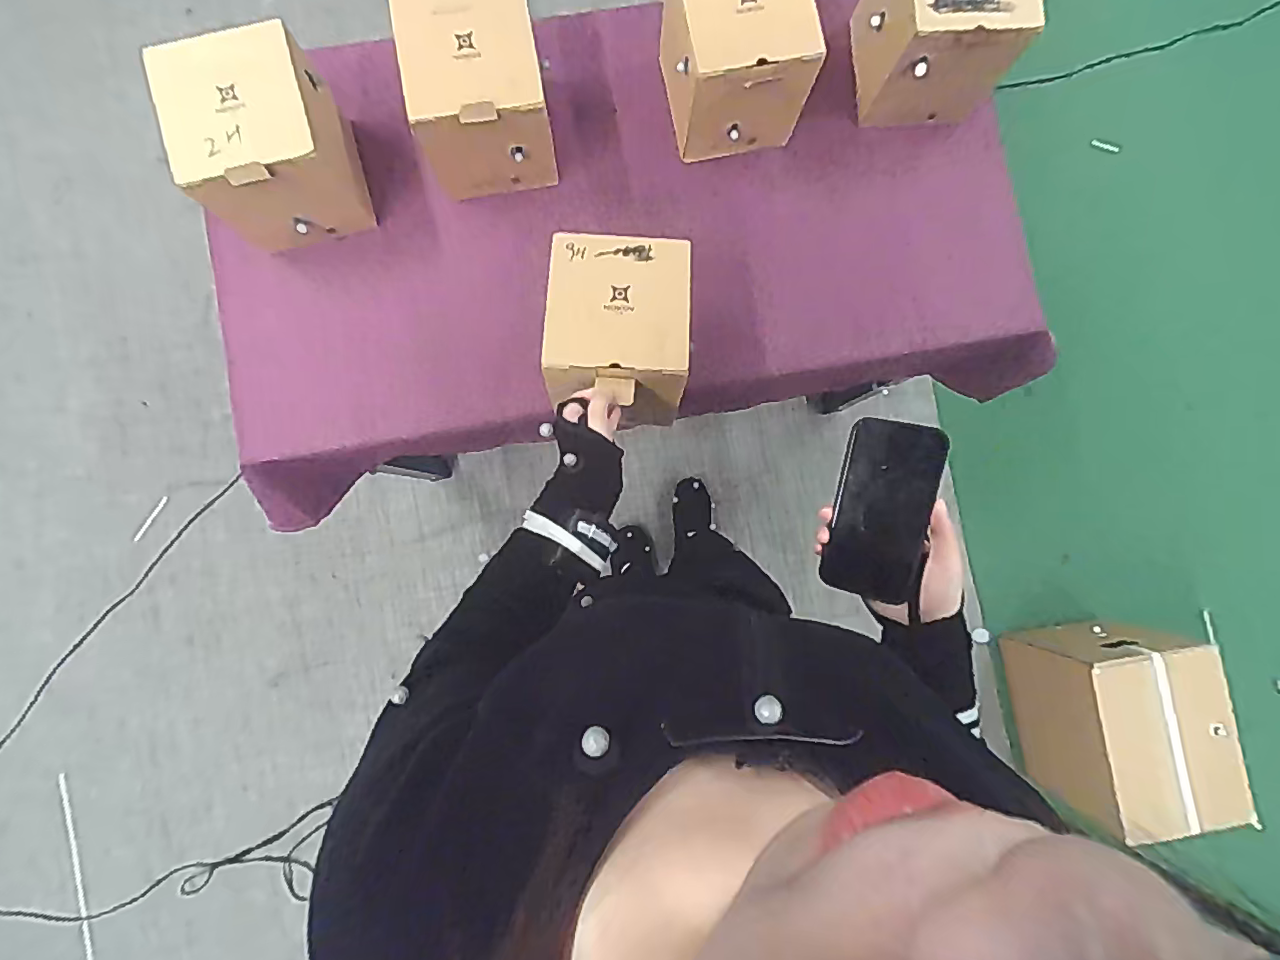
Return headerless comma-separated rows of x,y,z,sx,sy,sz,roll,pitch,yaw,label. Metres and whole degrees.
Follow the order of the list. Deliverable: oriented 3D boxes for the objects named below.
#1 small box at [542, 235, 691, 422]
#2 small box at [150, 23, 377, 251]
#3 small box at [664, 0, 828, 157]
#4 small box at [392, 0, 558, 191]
-0.026,-0.184,0.697,0.168,0.176,0.179,3,75,-1,small box
-0.480,-0.438,0.715,0.168,0.176,0.179,-15,88,-2,small box
0.132,-0.590,0.744,0.168,0.176,0.179,-12,88,-2,small box
-0.210,-0.517,0.730,0.168,0.176,0.179,-10,87,-3,small box
